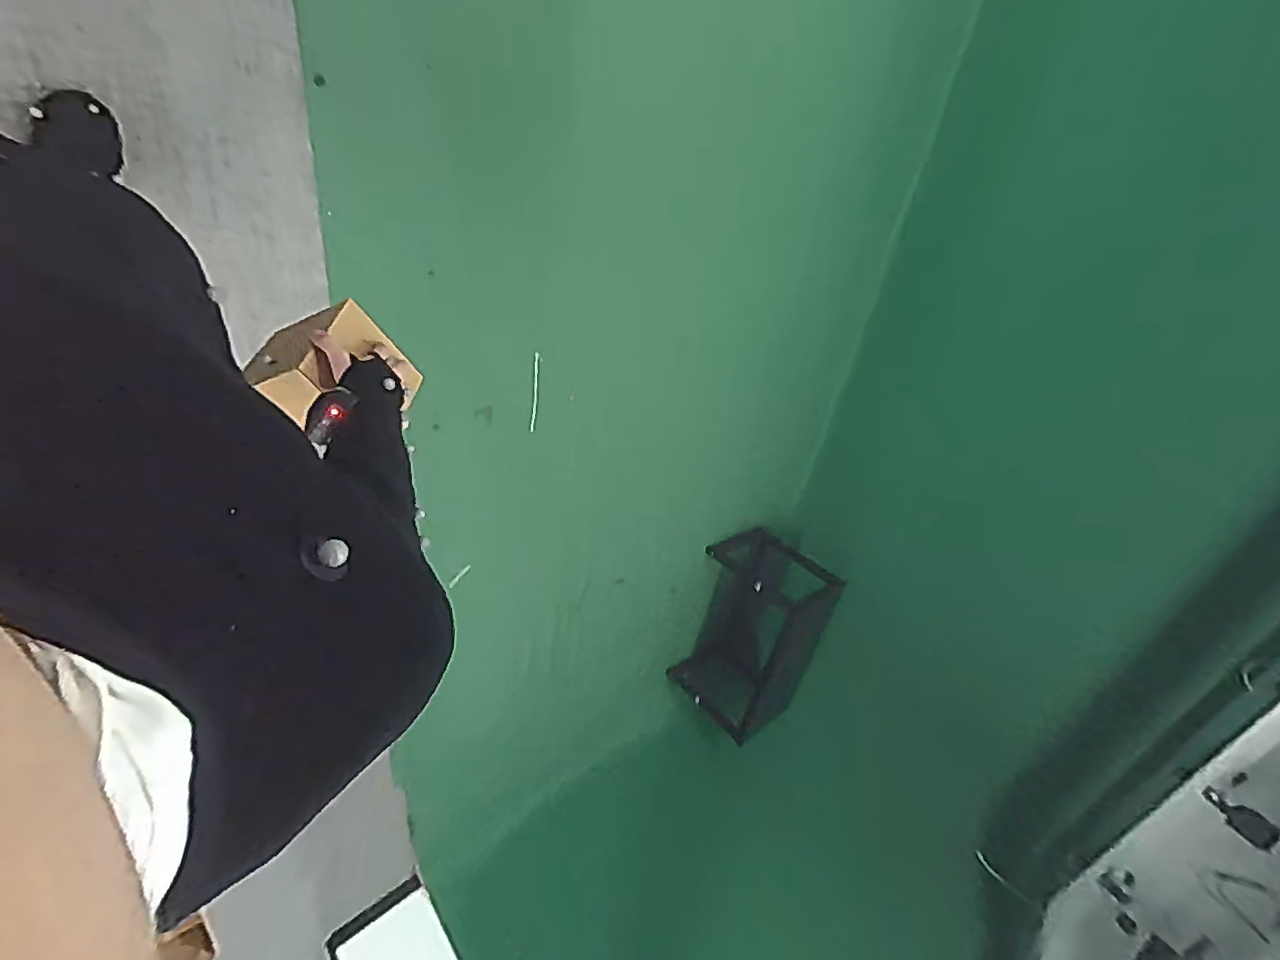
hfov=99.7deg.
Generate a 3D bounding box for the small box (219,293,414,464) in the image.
[{"bbox_3d":[-0.492,-0.148,0.833,0.176,0.179,0.168,-14,137,19],"label":"small box"}]

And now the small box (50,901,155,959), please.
[{"bbox_3d":[-1.353,1.228,1.369,0.168,0.176,0.179,-16,128,-42],"label":"small box"}]
